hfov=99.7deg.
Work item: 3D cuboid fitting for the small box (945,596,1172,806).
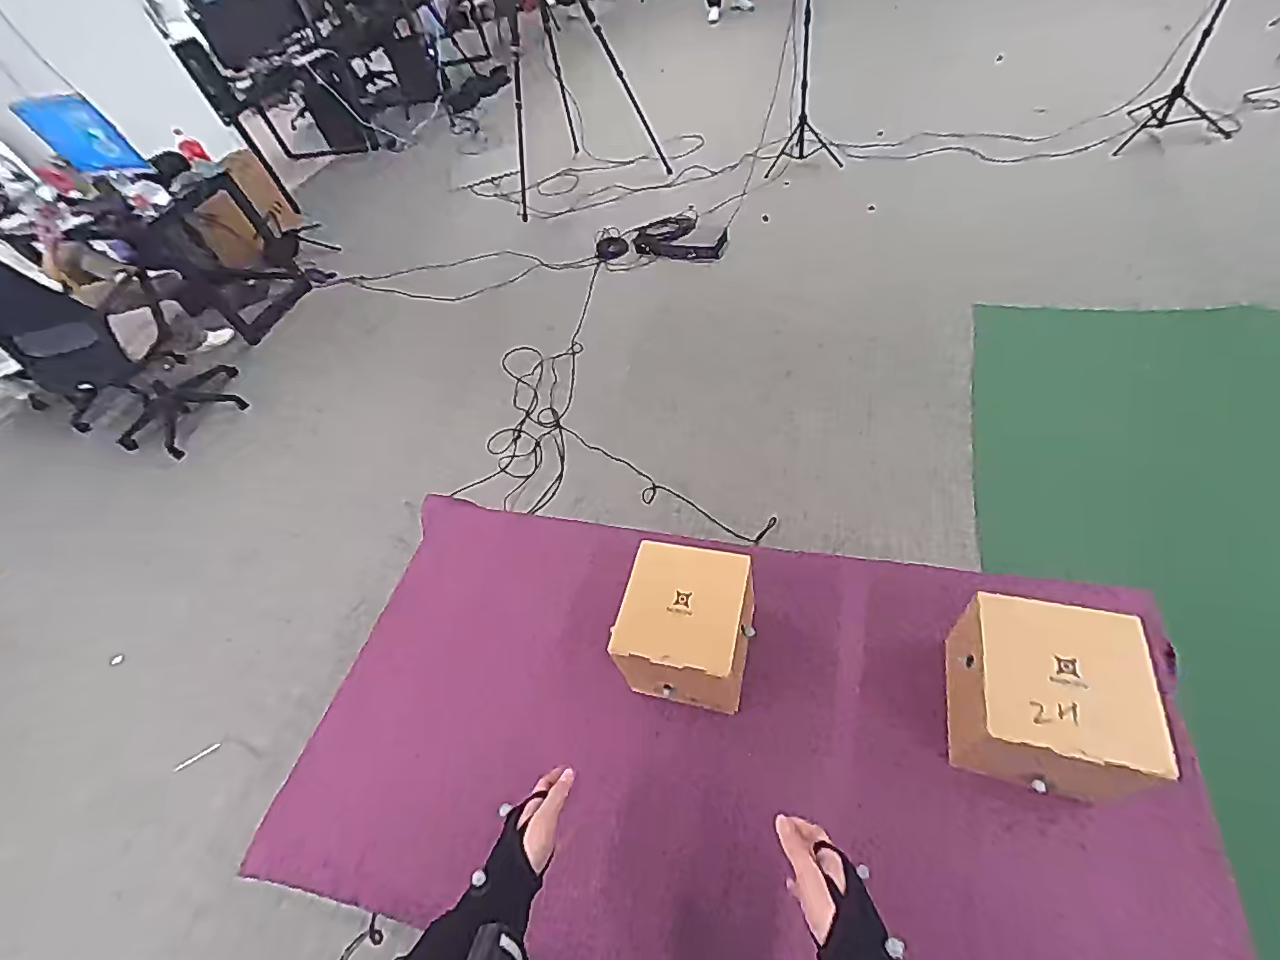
[{"bbox_3d":[0.485,0.271,0.664,0.168,0.176,0.179,7,55,19],"label":"small box"}]

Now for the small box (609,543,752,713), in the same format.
[{"bbox_3d":[0.070,0.220,0.801,0.168,0.176,0.179,7,56,17],"label":"small box"}]
